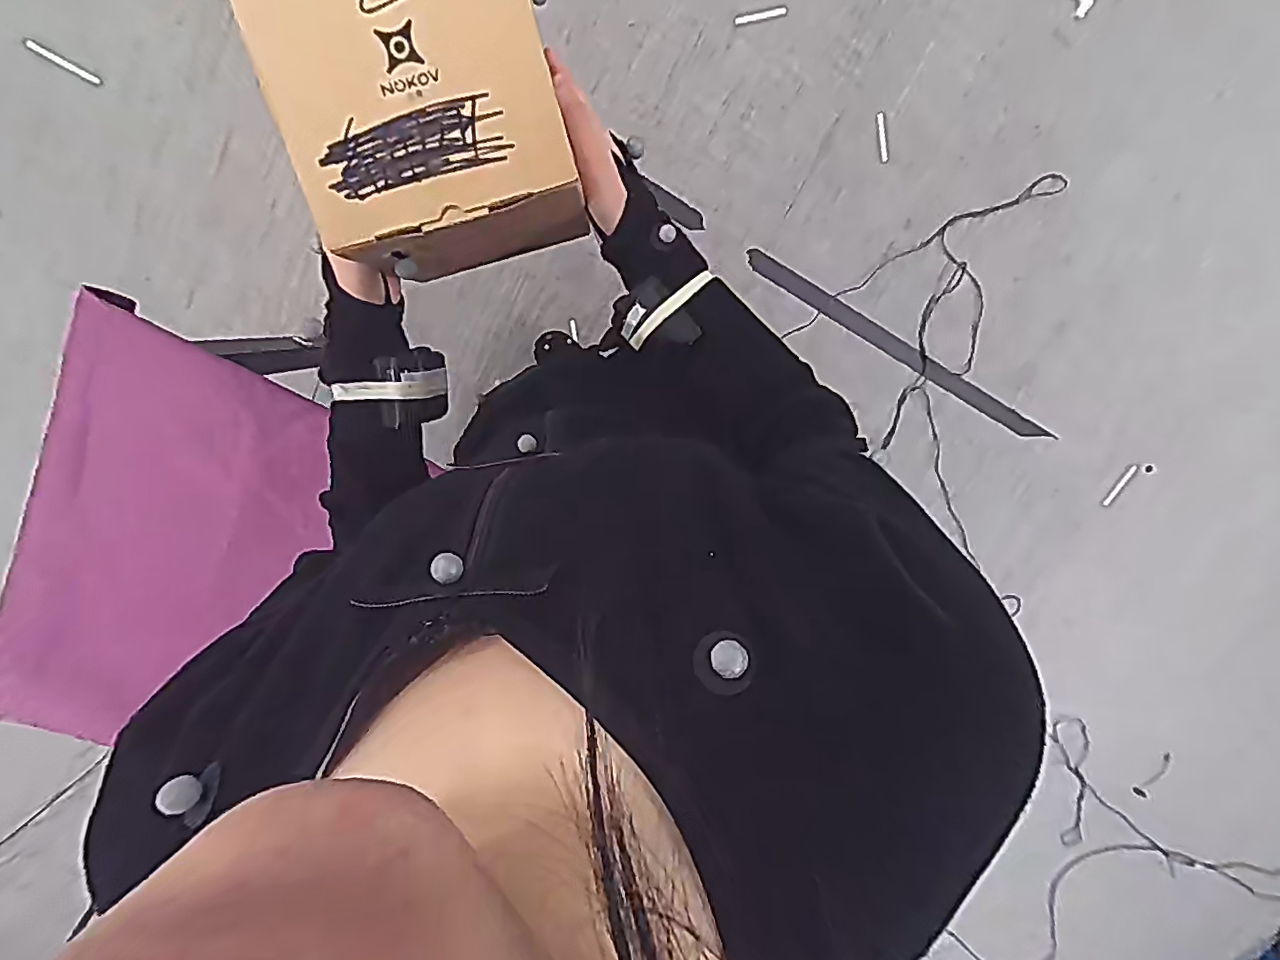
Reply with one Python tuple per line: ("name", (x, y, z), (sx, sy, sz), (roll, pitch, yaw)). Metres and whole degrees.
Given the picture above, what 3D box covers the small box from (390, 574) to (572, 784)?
("small box", (-0.203, 0.263, 0.744), (0.168, 0.176, 0.179), (29, 103, -11))
